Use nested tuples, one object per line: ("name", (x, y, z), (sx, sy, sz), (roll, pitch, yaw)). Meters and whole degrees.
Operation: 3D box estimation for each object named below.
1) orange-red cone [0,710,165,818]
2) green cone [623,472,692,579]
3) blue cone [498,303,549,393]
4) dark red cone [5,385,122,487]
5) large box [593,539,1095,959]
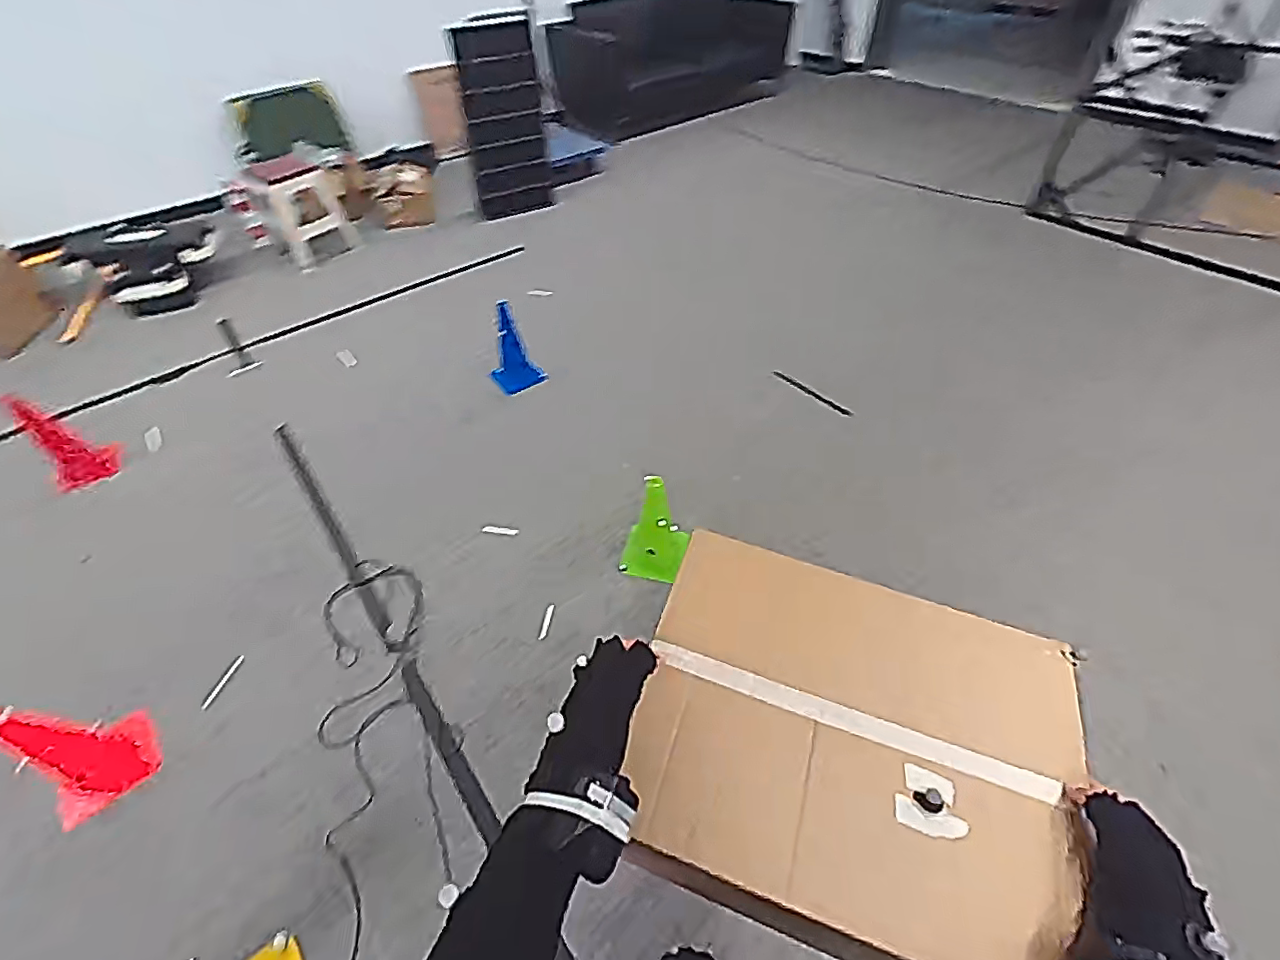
("orange-red cone", (-1.344, 0.610, 1.255), (0.198, 0.360, 0.199), (-35, 57, -25))
("green cone", (0.058, 0.118, 1.648), (0.200, 0.368, 0.202), (9, 47, 9))
("blue cone", (-0.531, -0.578, 2.319), (0.192, 0.380, 0.193), (-28, 53, -23))
("dark red cone", (-2.111, -0.174, 1.955), (0.201, 0.394, 0.202), (-26, 52, -22))
("large box", (0.185, 0.322, 0.628), (0.408, 0.320, 0.320), (16, 53, 10))
